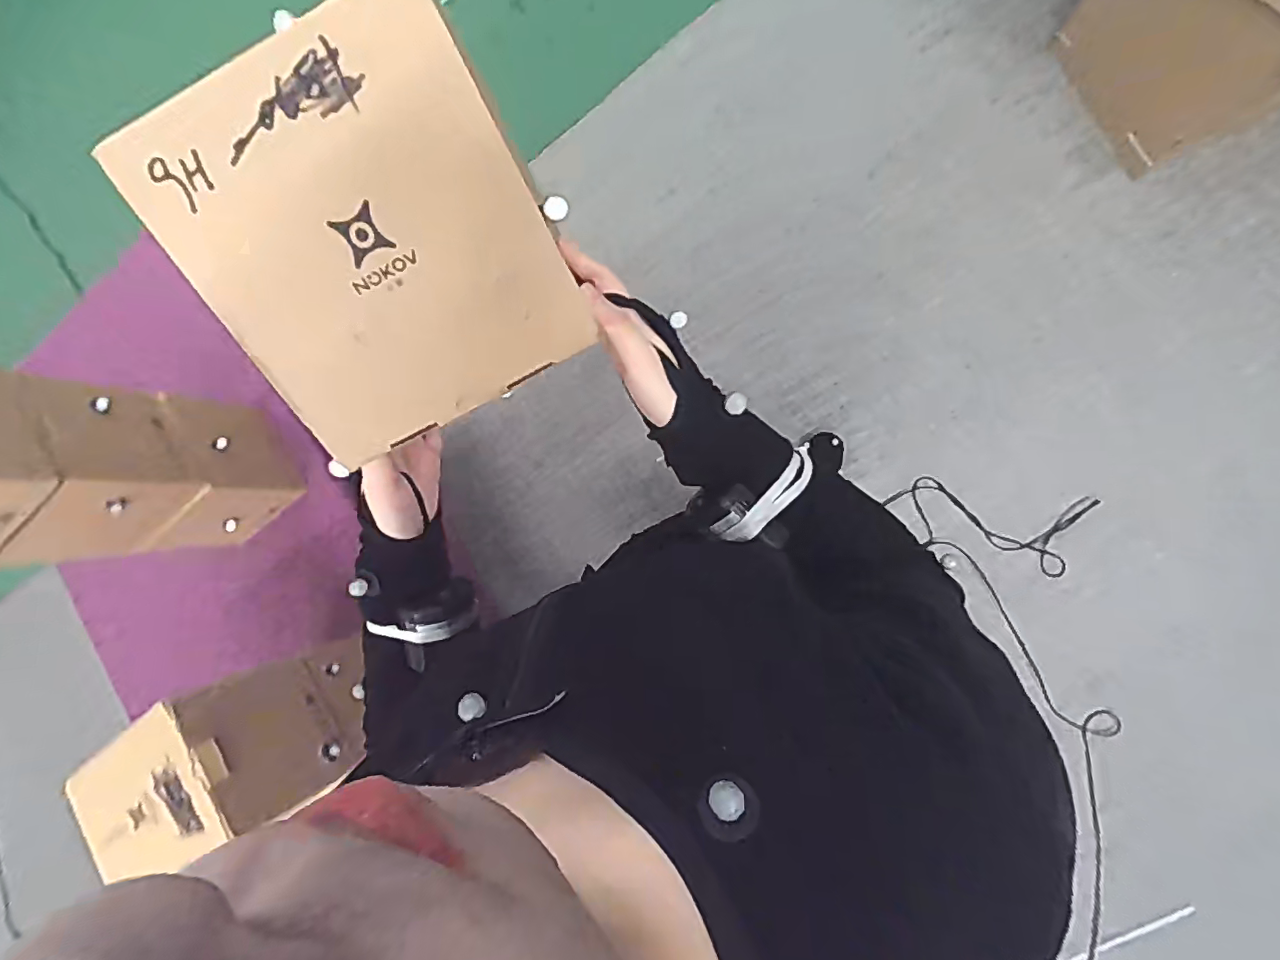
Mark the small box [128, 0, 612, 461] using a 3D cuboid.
[{"bbox_3d":[-0.128,-0.145,0.340,0.168,0.176,0.179,-25,114,5],"label":"small box"}]

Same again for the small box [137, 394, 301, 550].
[{"bbox_3d":[-0.693,-0.011,0.863,0.168,0.176,0.179,-35,81,9],"label":"small box"}]

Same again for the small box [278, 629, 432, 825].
[{"bbox_3d":[-0.445,0.347,0.796,0.168,0.176,0.179,-37,80,9],"label":"small box"}]

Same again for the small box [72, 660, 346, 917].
[{"bbox_3d":[-0.485,0.341,0.636,0.179,0.176,0.168,-38,80,11],"label":"small box"}]

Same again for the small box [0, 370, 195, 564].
[{"bbox_3d":[-0.734,-0.013,0.706,0.179,0.176,0.168,-38,80,10],"label":"small box"}]
